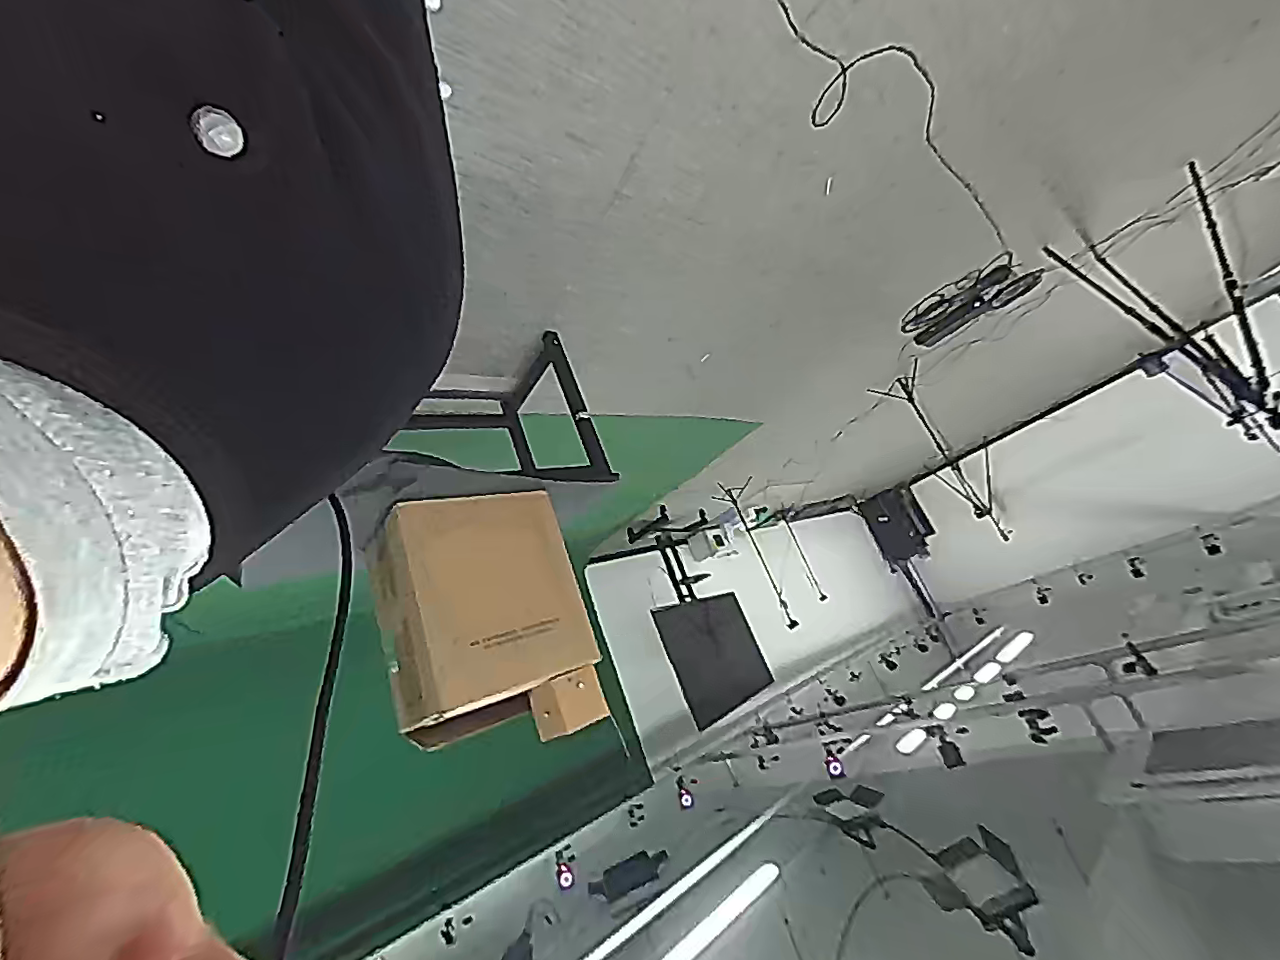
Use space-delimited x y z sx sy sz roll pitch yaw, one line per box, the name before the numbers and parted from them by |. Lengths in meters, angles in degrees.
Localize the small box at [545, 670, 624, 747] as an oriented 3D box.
small box | -0.187 0.733 1.746 0.168 0.176 0.179 -7 154 -43
